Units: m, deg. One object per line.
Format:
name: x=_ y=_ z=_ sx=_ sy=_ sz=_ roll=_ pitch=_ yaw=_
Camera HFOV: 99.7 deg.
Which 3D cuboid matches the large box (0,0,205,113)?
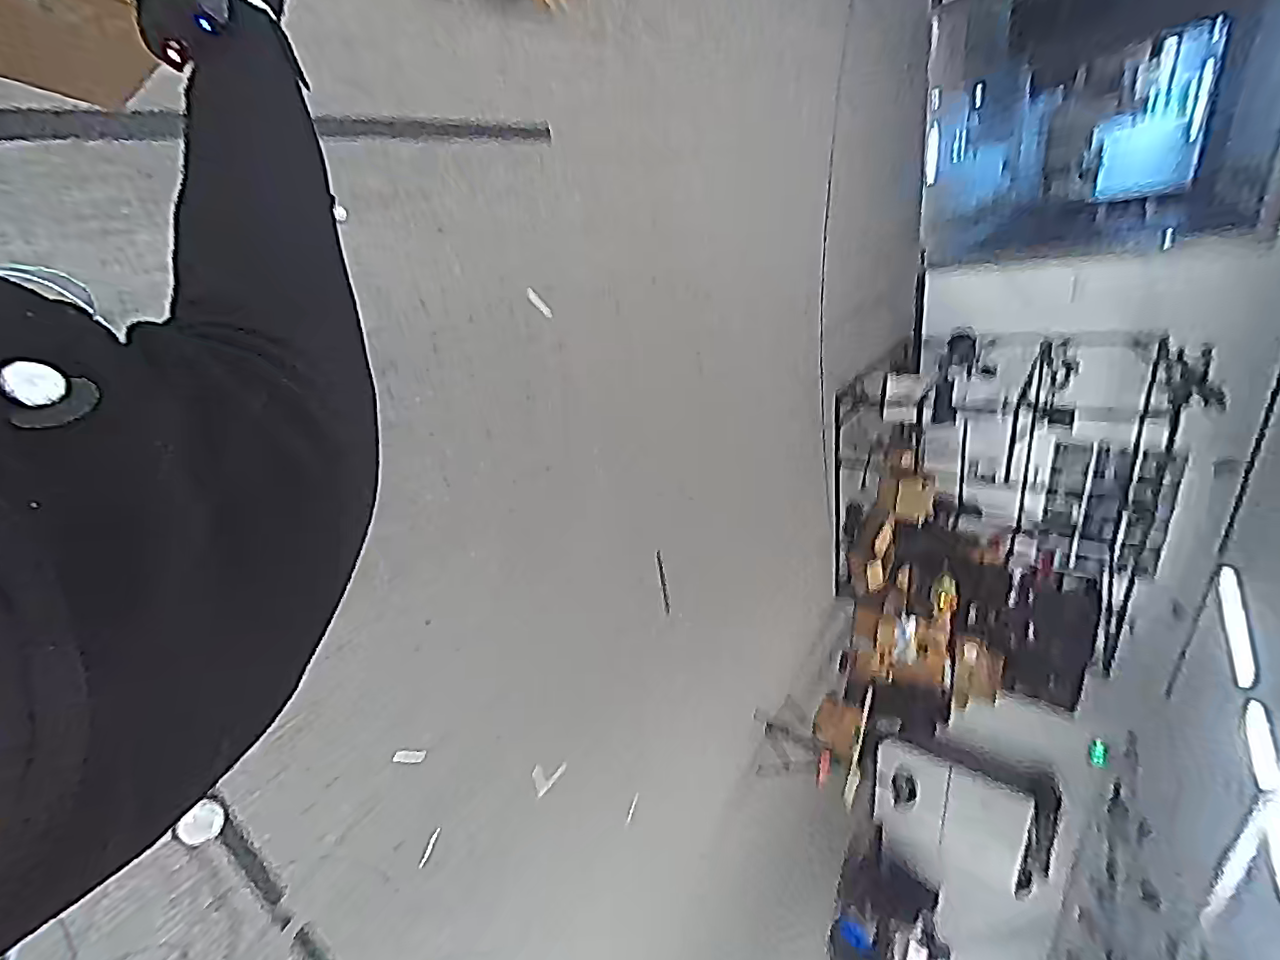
large box: x=-0.576 y=-0.500 z=0.333 sx=0.408 sy=0.320 sz=0.320 roll=-11 pitch=110 yaw=-50
